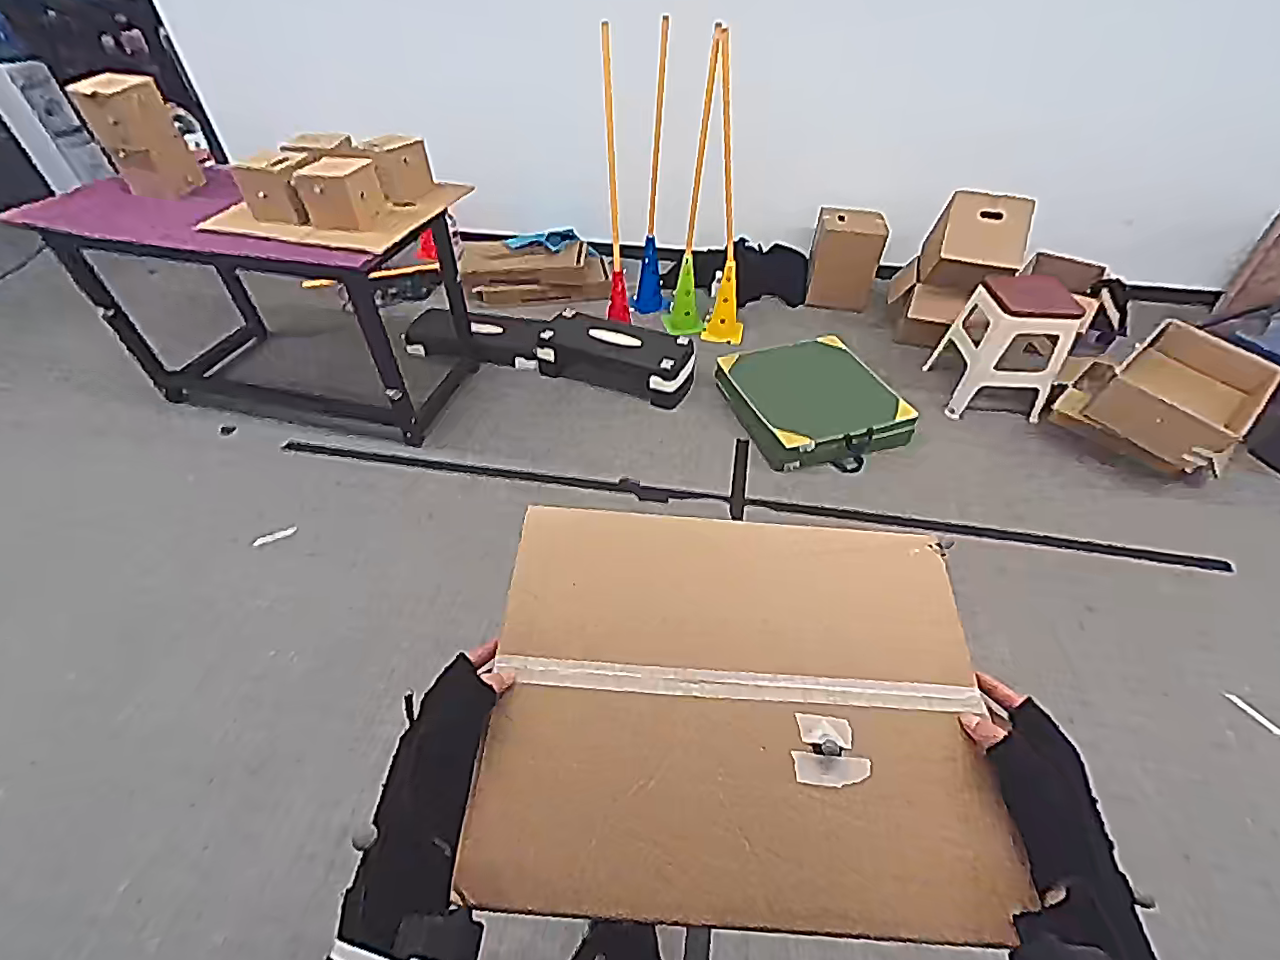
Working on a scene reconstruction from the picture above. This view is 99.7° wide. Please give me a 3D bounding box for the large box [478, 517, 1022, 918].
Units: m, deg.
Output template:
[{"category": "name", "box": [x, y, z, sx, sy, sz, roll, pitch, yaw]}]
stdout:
[{"category": "large box", "box": [0.078, 0.259, 0.592, 0.408, 0.320, 0.320, 4, 57, 0]}]
